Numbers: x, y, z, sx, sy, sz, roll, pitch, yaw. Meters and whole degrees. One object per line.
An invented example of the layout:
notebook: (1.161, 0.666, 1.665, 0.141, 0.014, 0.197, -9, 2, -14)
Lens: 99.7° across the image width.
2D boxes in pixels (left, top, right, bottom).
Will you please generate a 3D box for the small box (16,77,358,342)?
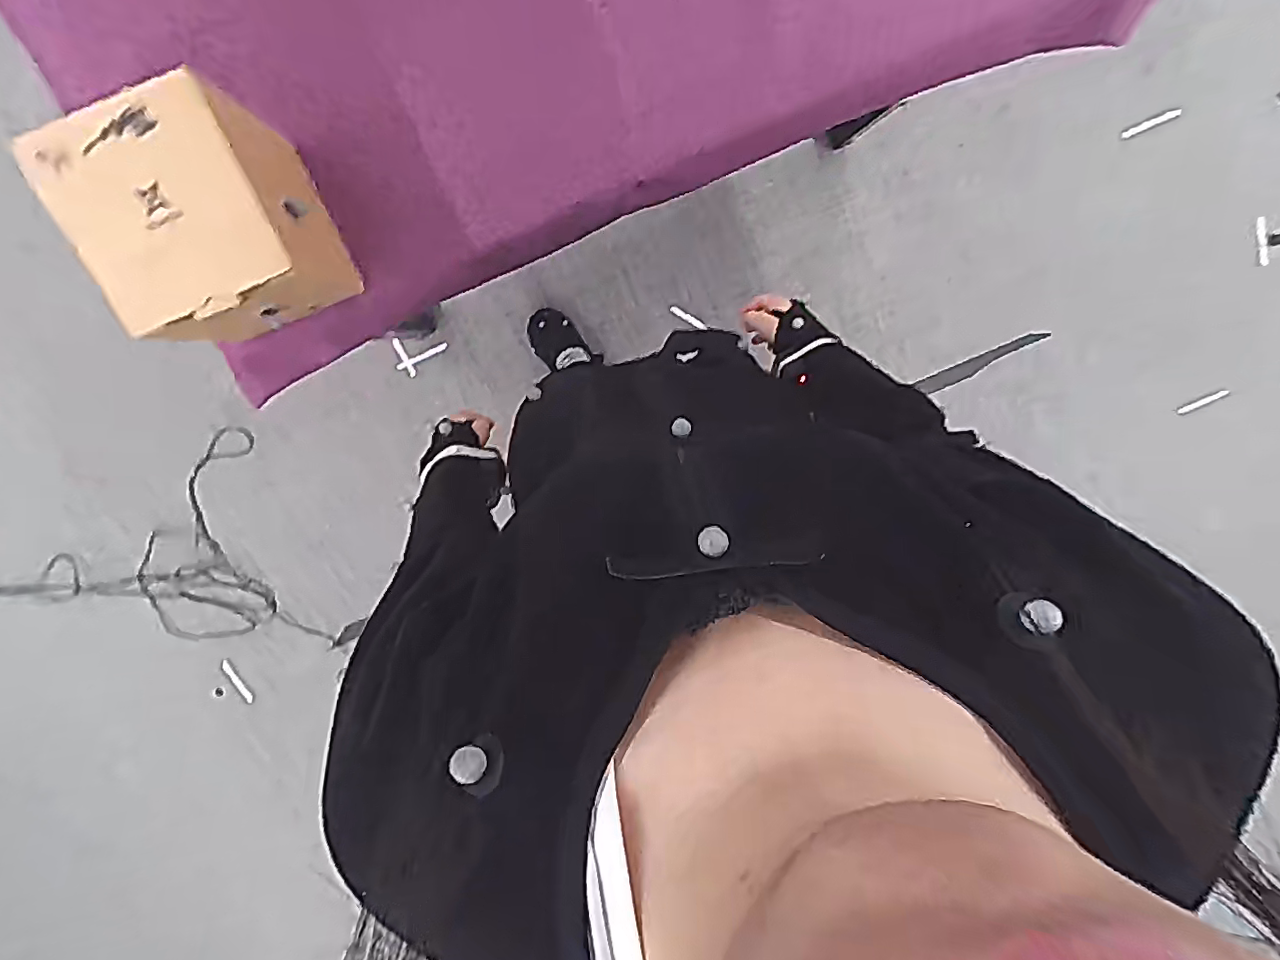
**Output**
small box: (-0.430, -0.256, 0.556, 0.168, 0.176, 0.179, -23, 106, 0)
